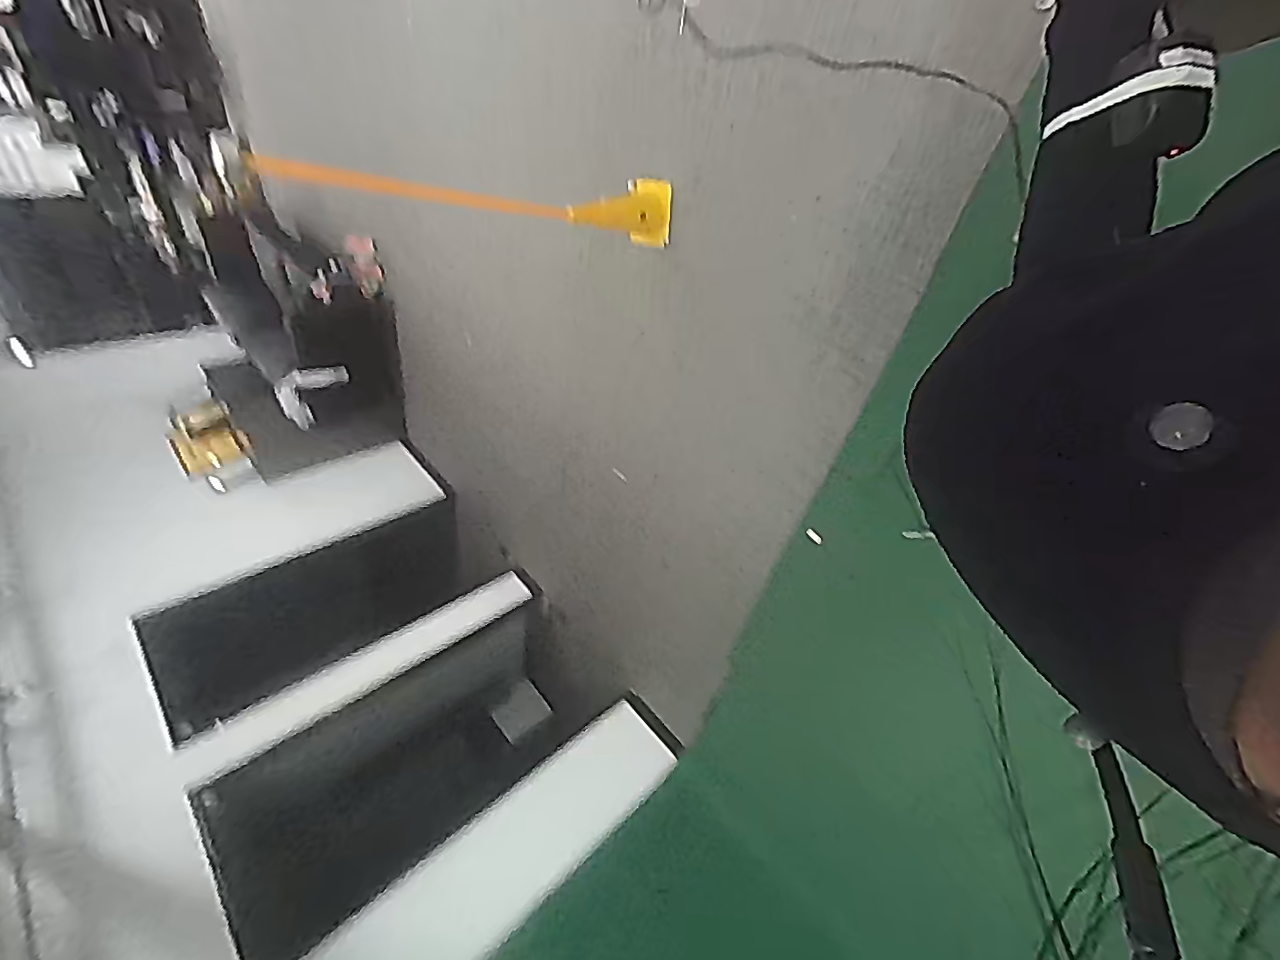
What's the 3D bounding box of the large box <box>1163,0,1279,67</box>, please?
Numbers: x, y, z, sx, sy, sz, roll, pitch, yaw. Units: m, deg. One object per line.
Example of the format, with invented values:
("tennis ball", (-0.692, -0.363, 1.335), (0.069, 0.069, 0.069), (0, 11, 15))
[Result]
("large box", (0.540, -0.492, 0.259), (0.408, 0.320, 0.320), (3, 110, 46))
